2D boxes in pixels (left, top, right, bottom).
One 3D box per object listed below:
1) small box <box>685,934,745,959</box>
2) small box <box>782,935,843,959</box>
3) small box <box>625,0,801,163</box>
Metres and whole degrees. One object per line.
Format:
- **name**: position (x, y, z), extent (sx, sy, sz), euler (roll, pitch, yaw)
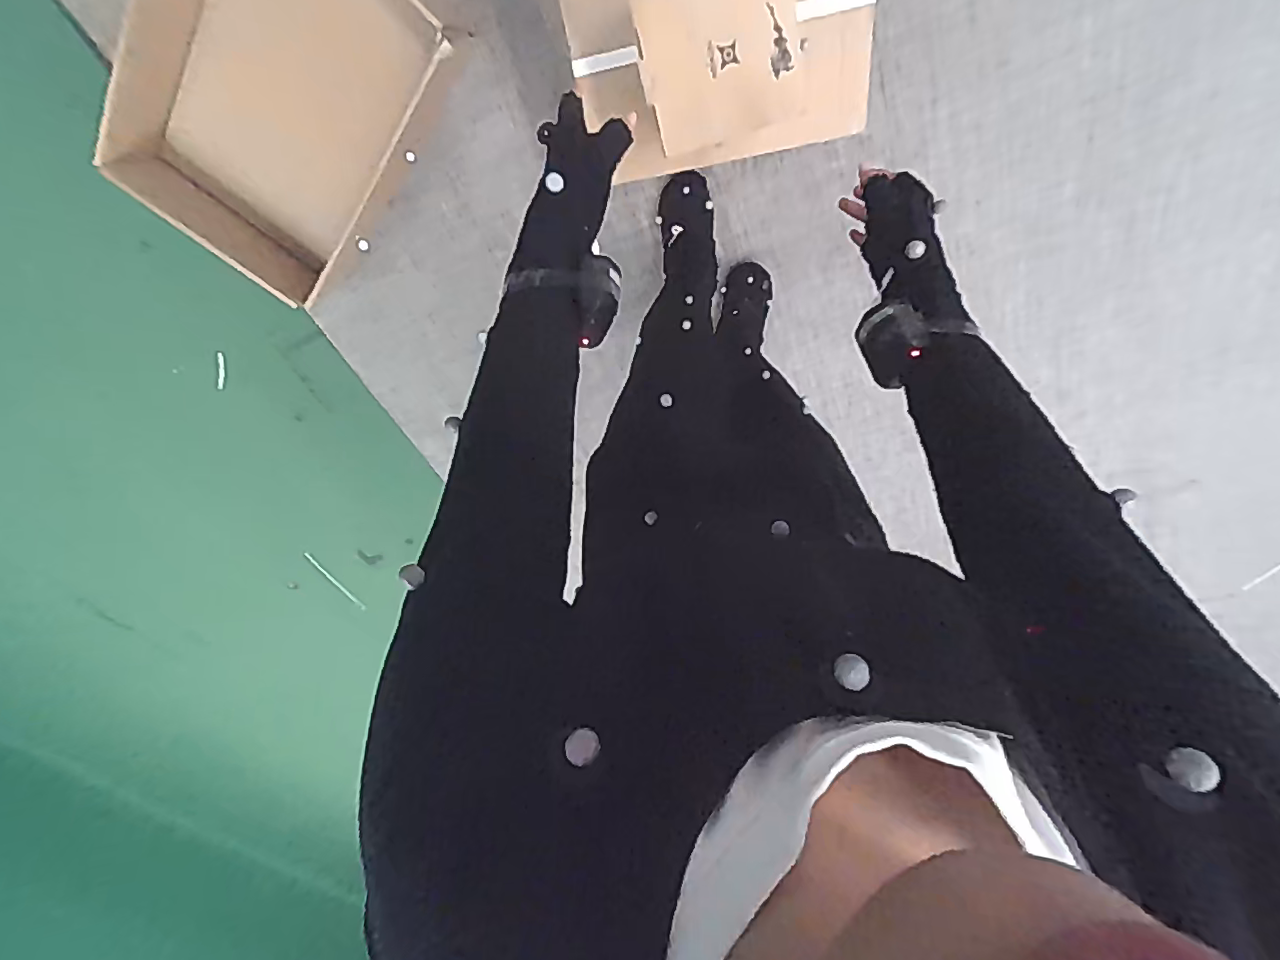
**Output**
- **small box**: position (0.261, 1.687, 1.863), extent (0.168, 0.176, 0.179), euler (-20, 126, 19)
- **small box**: position (0.587, 1.645, 1.805), extent (0.168, 0.176, 0.179), euler (-21, 124, 20)
- **small box**: position (0.094, -0.522, 0.676), extent (0.179, 0.176, 0.168), euler (-11, 127, 13)
